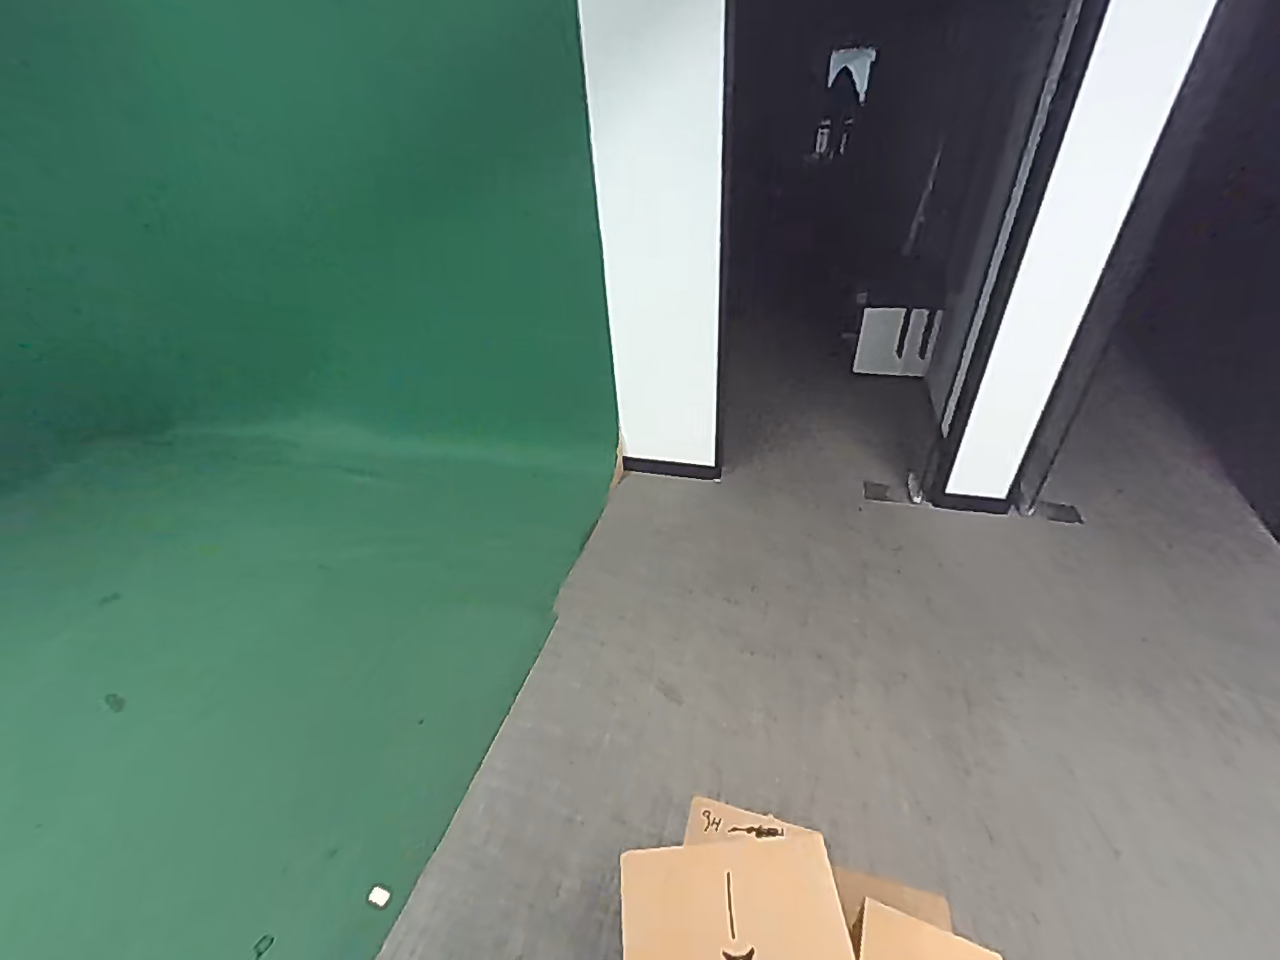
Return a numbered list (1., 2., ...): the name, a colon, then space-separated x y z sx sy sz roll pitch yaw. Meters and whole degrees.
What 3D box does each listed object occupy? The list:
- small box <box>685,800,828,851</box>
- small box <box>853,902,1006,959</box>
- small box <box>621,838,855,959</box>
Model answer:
1. small box: 0.129 0.539 0.662 0.168 0.176 0.179 9 39 14
2. small box: 0.361 0.700 0.689 0.168 0.176 0.179 10 38 22
3. small box: 0.078 0.410 0.422 0.168 0.176 0.179 -6 42 0
